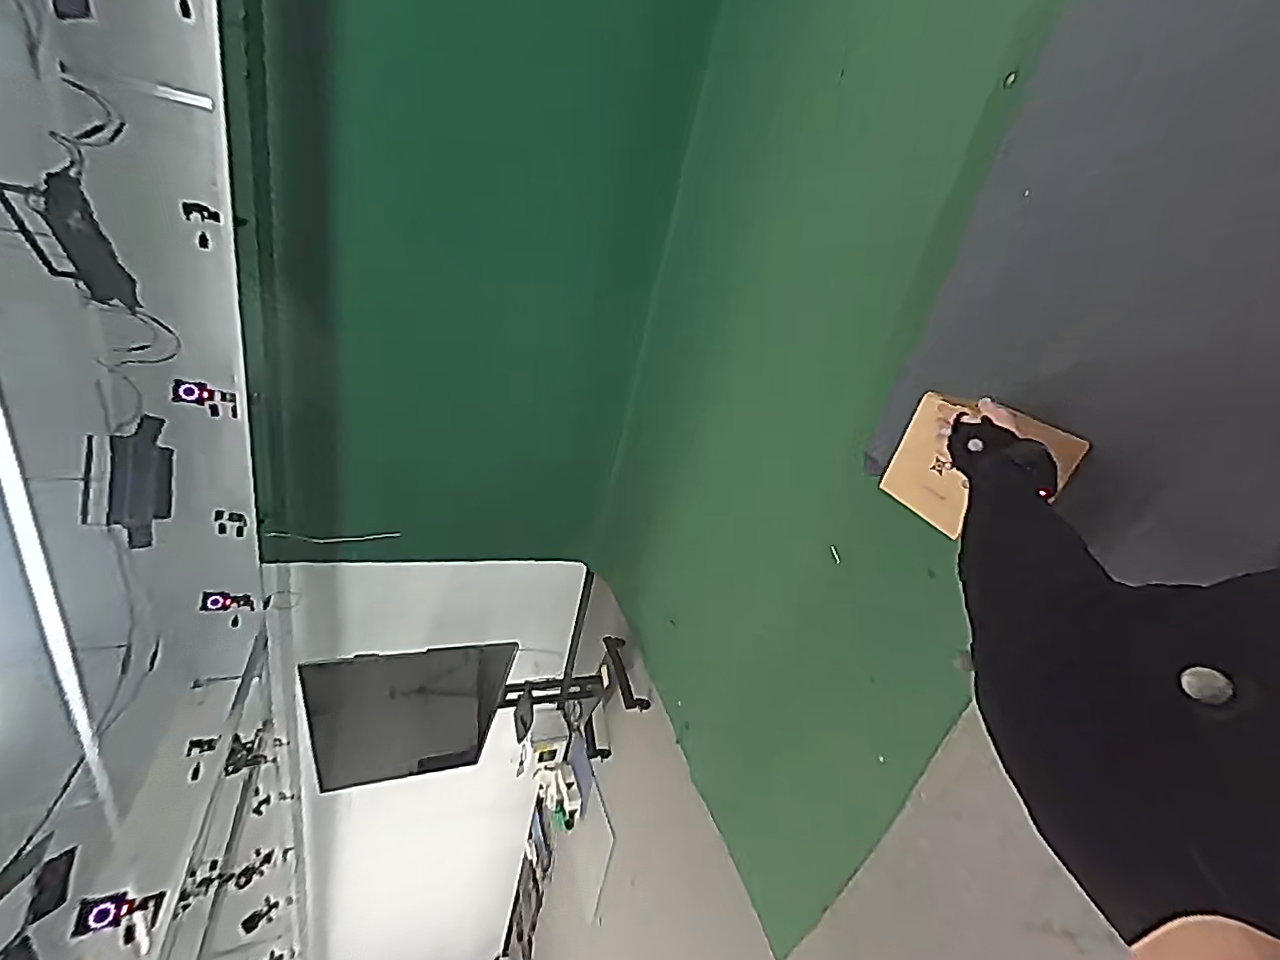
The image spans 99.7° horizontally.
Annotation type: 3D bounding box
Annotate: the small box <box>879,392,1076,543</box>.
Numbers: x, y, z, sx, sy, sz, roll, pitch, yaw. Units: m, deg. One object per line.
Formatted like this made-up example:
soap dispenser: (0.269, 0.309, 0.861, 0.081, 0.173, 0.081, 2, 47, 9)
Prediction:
small box: (0.525, -0.018, 0.846, 0.168, 0.176, 0.179, -119, 40, -55)
